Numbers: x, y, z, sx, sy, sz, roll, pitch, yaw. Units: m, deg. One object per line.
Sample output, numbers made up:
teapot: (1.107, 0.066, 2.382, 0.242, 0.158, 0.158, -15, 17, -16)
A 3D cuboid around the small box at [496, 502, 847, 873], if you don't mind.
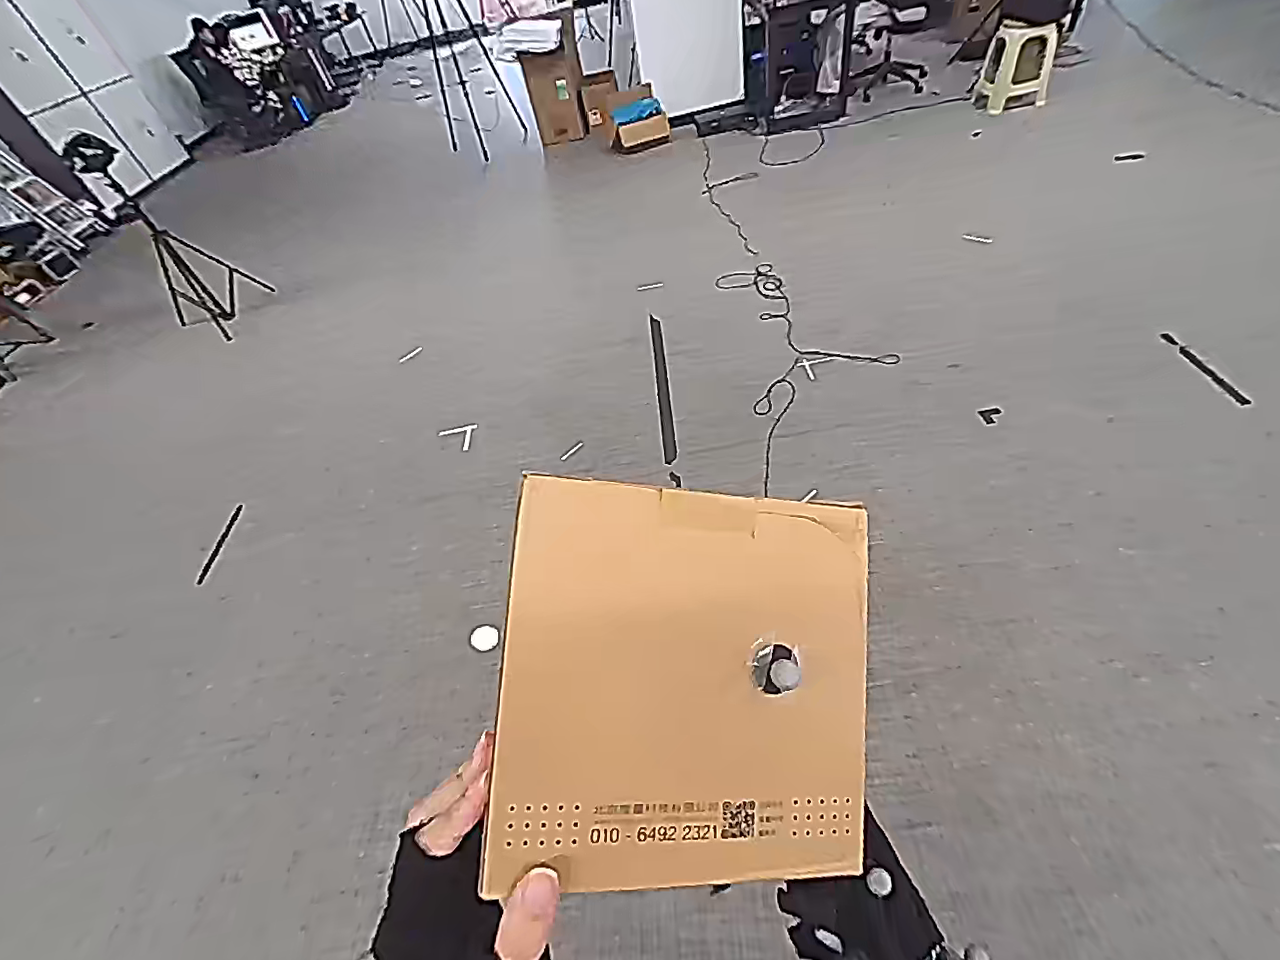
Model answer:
small box: (0.007, 0.108, 0.332, 0.168, 0.179, 0.176, 6, 83, -10)
